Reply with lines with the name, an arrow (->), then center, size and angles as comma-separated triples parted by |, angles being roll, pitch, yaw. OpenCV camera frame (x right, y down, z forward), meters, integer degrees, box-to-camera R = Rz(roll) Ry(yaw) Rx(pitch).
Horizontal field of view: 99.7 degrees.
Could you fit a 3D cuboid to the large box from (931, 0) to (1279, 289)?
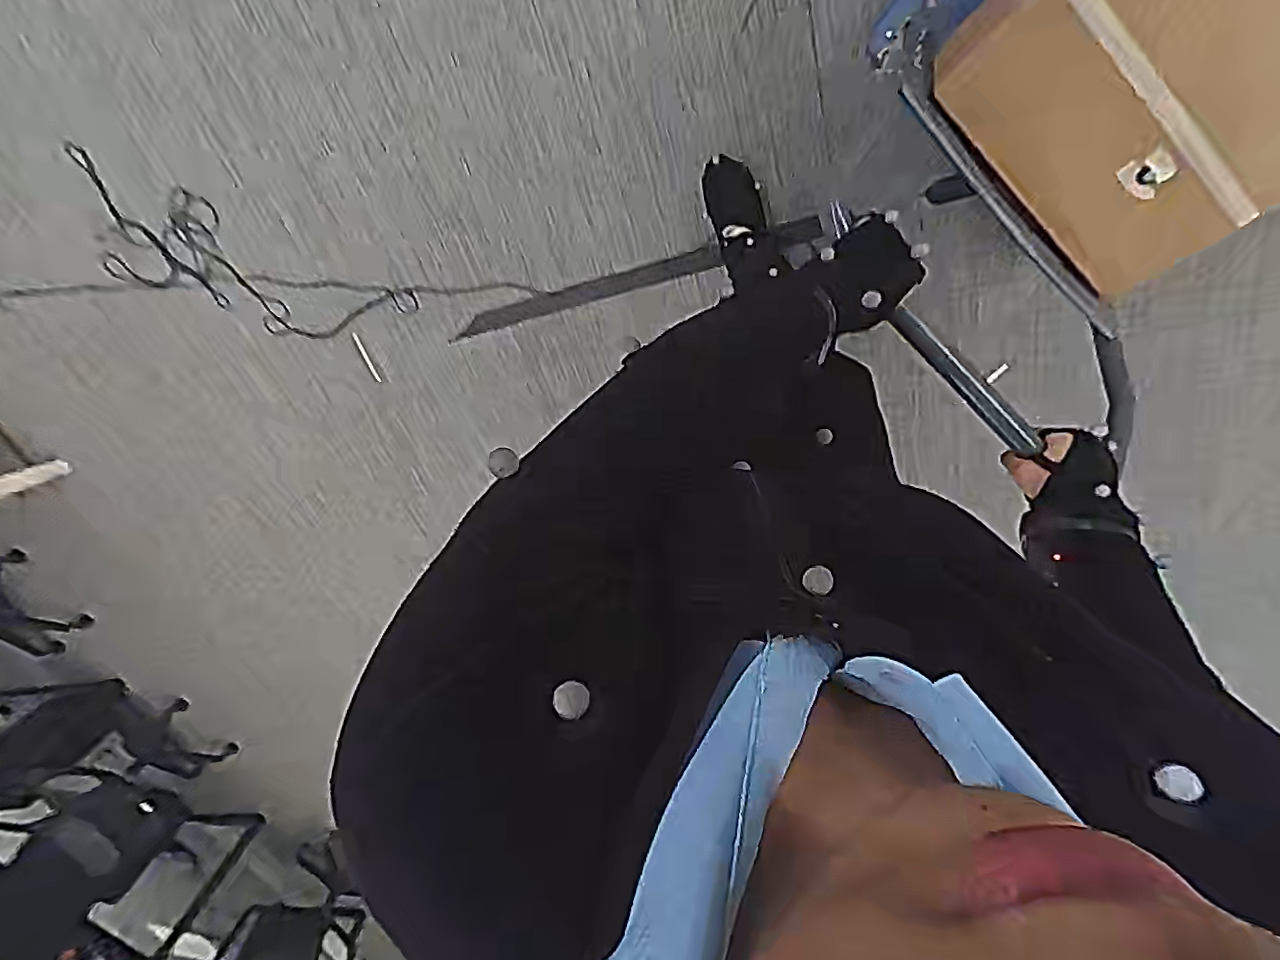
large box -> 0.673, -0.564, 0.750 | 0.408, 0.320, 0.320 | 38, 139, -13
